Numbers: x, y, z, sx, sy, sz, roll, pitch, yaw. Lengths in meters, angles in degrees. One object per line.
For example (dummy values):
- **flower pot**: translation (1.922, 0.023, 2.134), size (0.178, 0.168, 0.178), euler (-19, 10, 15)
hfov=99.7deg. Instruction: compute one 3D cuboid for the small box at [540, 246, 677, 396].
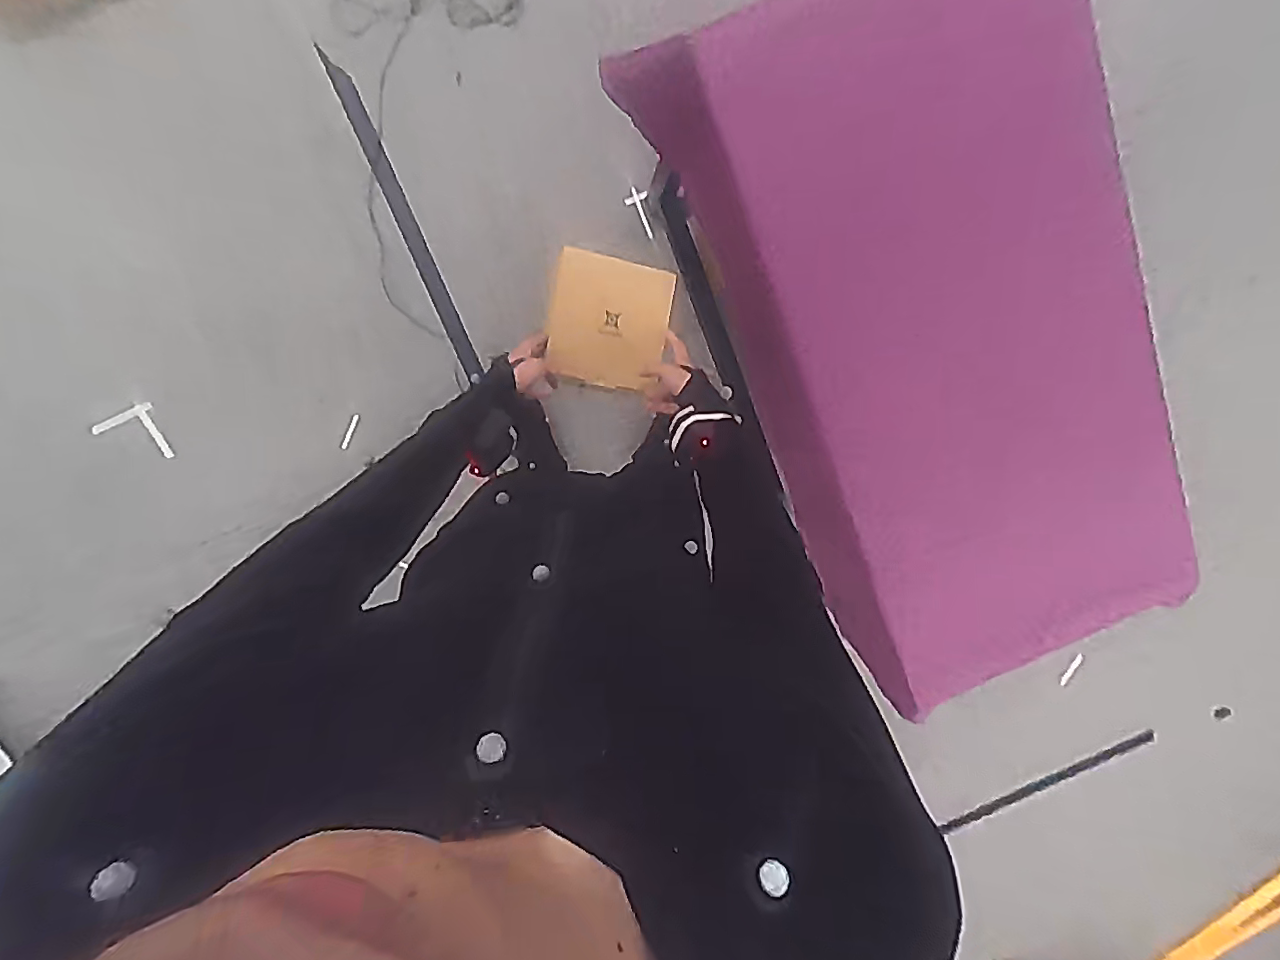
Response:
- **small box**: translation (-0.057, -0.230, 0.833), size (0.168, 0.176, 0.179), euler (9, 96, -15)
